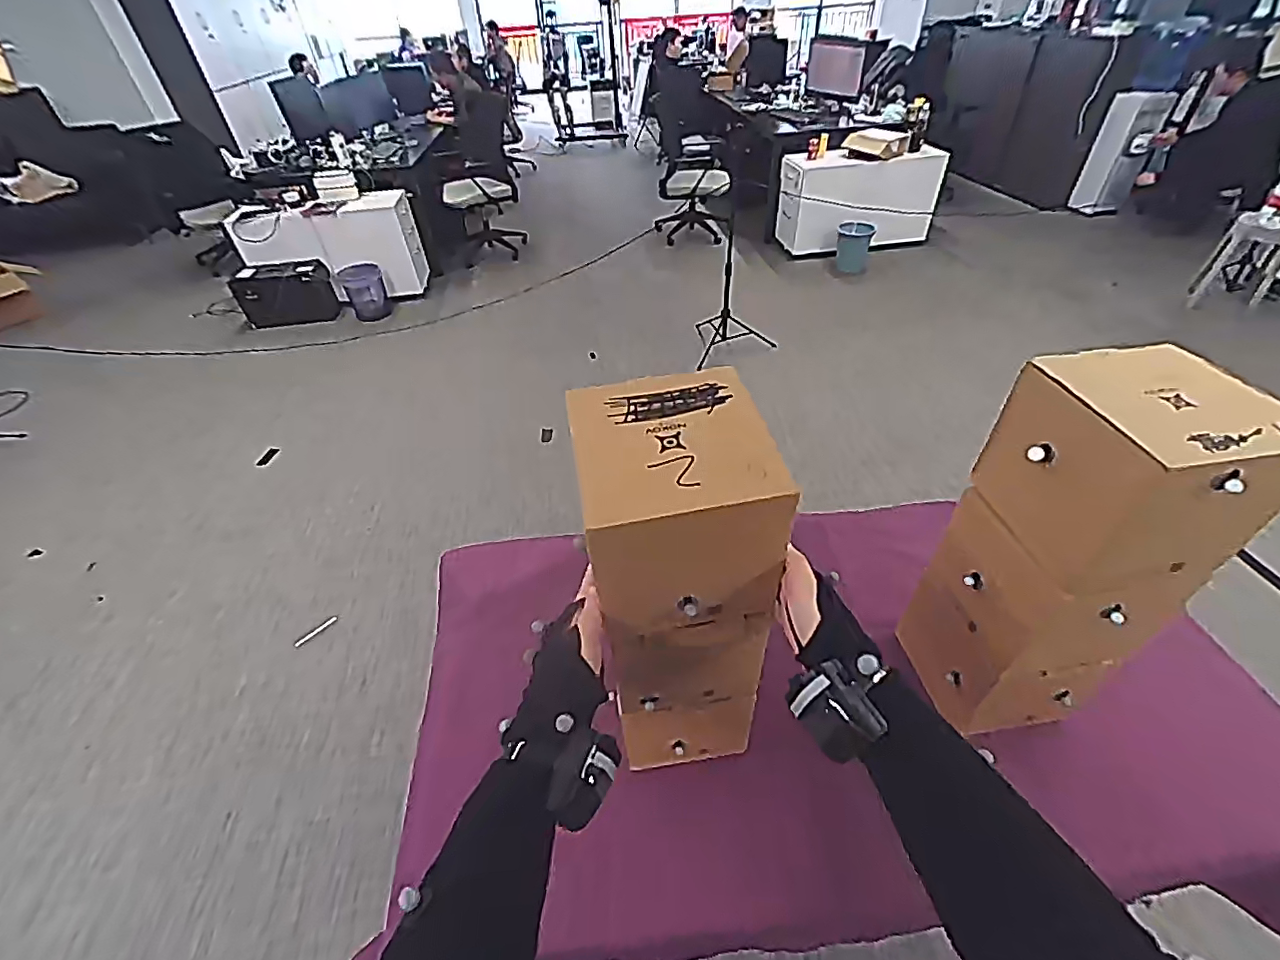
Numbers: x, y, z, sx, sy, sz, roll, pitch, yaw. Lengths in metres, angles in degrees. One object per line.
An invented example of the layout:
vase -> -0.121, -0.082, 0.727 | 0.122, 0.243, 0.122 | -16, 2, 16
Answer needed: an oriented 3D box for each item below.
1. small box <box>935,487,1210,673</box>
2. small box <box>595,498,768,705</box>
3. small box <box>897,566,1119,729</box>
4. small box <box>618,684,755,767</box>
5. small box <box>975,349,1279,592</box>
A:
small box -> 0.490, 0.113, 0.655 | 0.179, 0.176, 0.168 | -7, 43, -5
small box -> 0.042, 0.150, 0.650 | 0.168, 0.176, 0.179 | -8, 42, -5
small box -> 0.498, 0.233, 0.767 | 0.168, 0.176, 0.179 | -7, 42, -4
small box -> 0.051, 0.272, 0.760 | 0.168, 0.176, 0.179 | -7, 43, -4
small box -> 0.486, -0.012, 0.549 | 0.168, 0.176, 0.179 | -7, 42, -4
